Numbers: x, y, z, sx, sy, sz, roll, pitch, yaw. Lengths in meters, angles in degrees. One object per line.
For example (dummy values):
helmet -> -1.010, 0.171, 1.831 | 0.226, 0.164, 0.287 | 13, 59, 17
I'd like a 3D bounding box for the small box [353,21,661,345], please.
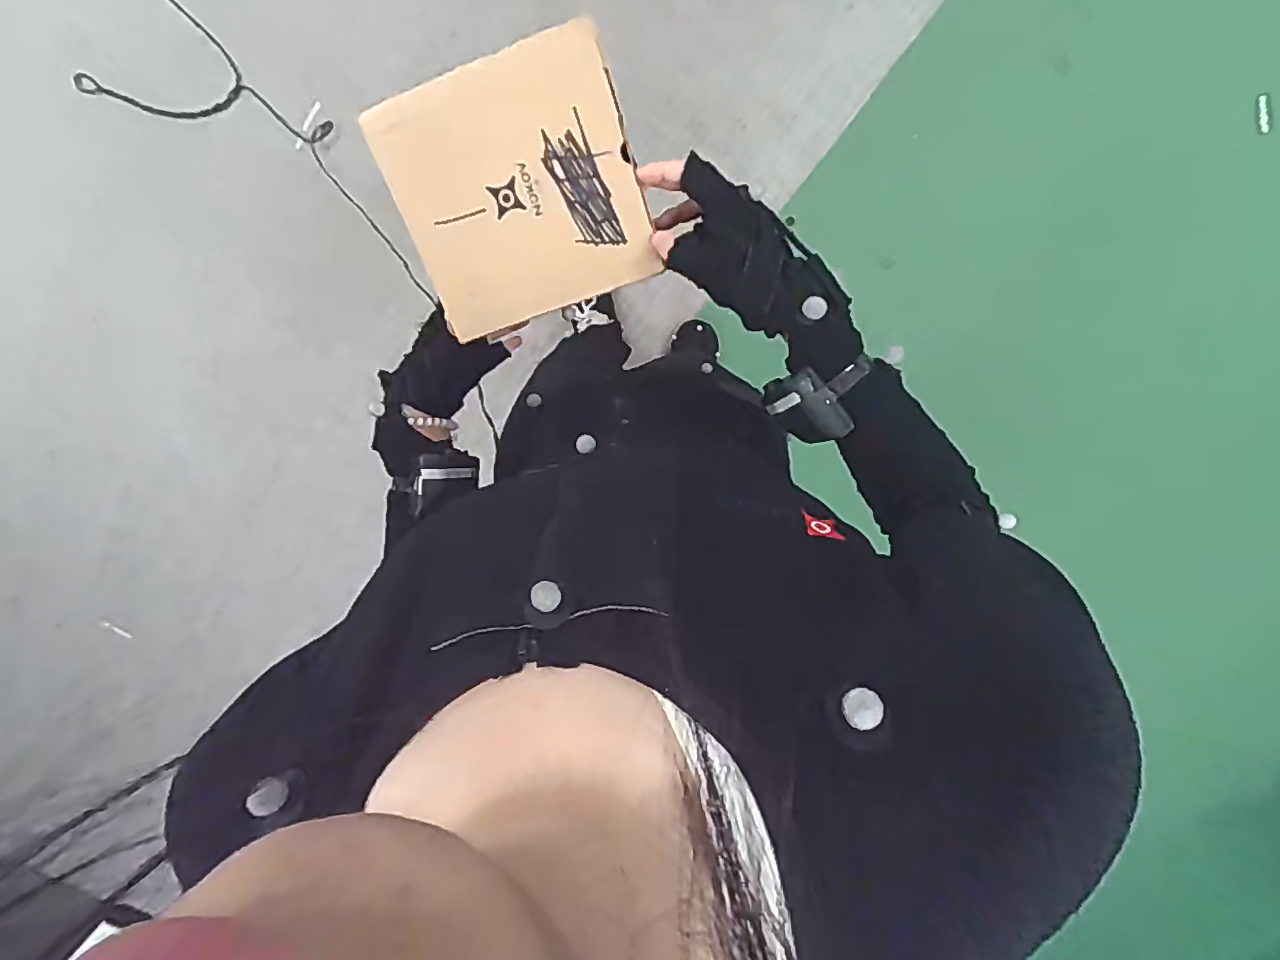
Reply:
small box -> -0.090, -0.233, 0.458 | 0.179, 0.176, 0.168 | -17, 112, 8
